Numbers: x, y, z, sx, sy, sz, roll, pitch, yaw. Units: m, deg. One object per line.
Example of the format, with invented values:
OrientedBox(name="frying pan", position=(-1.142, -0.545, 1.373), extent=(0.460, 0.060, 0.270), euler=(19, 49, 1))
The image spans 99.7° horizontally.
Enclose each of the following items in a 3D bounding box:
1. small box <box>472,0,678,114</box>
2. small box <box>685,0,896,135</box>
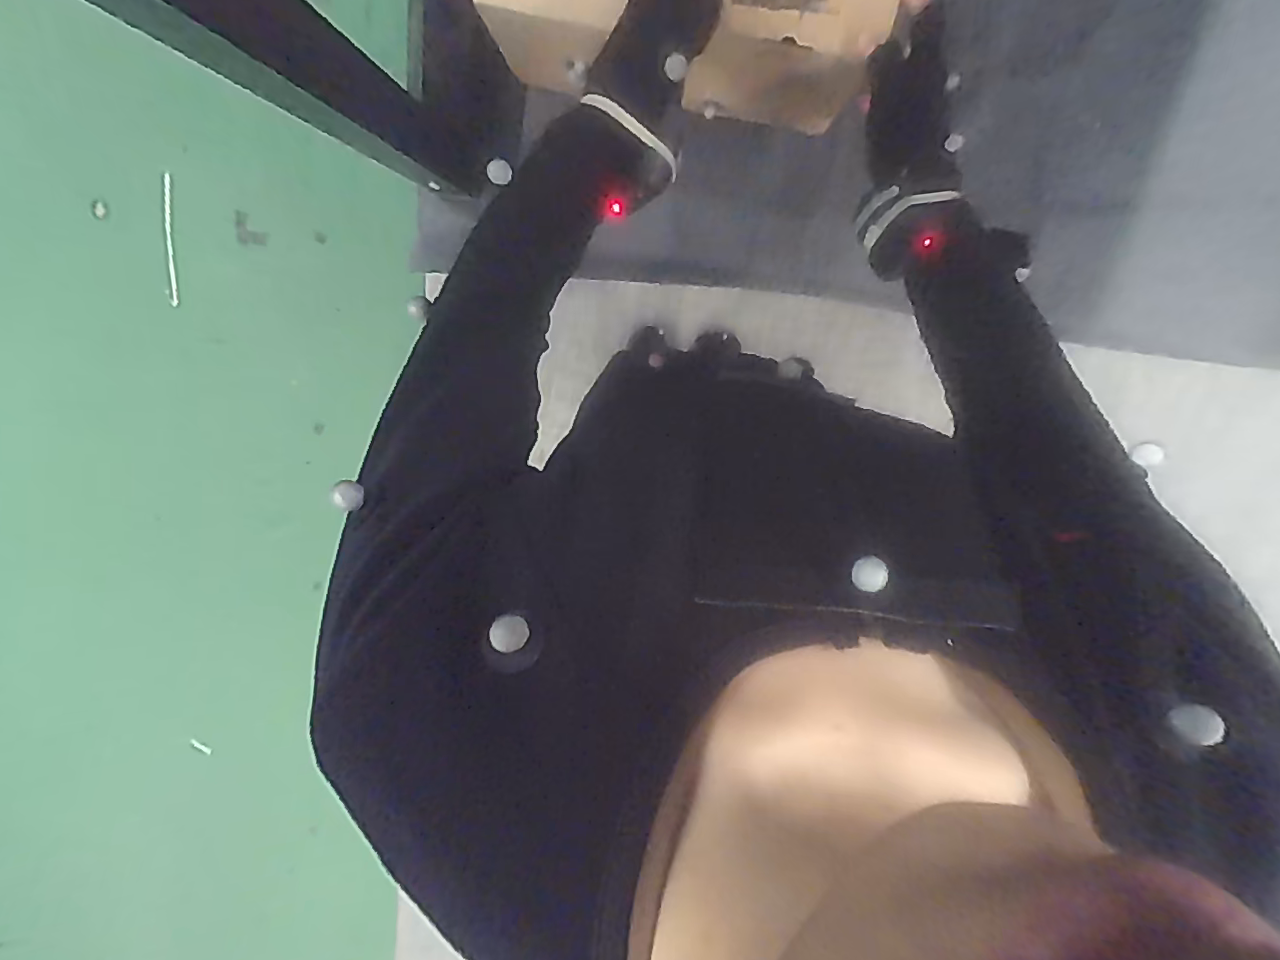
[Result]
OrientedBox(name="small box", position=(-0.046, -0.486, 0.516), extent=(0.168, 0.176, 0.179), euler=(11, 106, -2))
OrientedBox(name="small box", position=(0.138, -0.456, 0.507), extent=(0.168, 0.176, 0.179), euler=(10, 104, -1))
